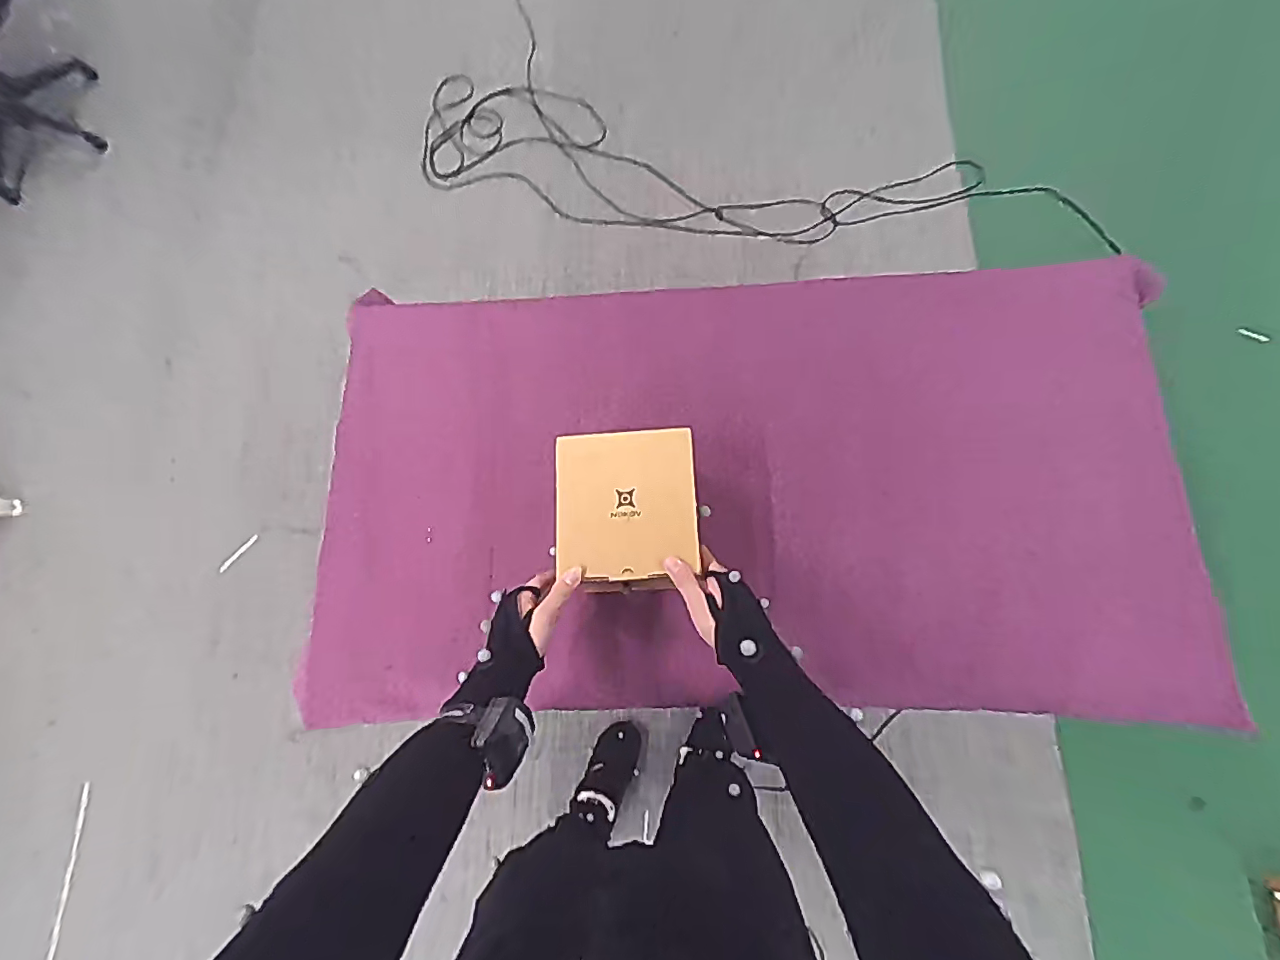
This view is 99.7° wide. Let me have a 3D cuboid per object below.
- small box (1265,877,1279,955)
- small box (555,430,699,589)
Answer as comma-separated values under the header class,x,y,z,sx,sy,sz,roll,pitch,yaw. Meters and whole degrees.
class,x,y,z,sx,sy,sz,roll,pitch,yaw
small box,1.454,0.939,1.102,0.179,0.176,0.168,-3,75,3
small box,-0.013,0.047,0.707,0.168,0.176,0.179,-3,76,4
